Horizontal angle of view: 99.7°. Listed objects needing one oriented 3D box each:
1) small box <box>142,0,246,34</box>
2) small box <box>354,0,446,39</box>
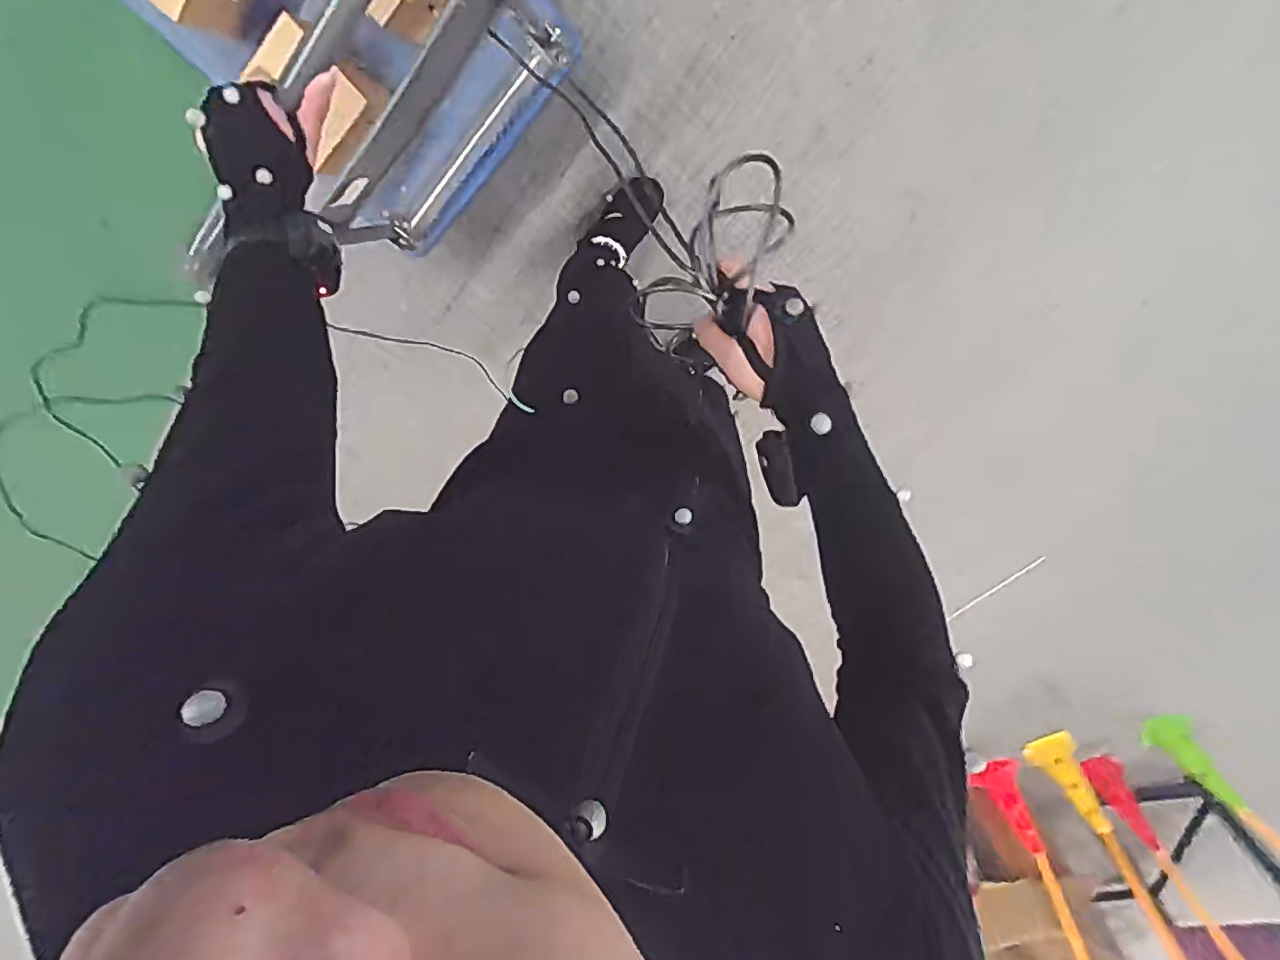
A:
[{"bbox_3d":[-0.778,-0.891,0.897,0.179,0.176,0.168,38,114,-21],"label":"small box"},{"bbox_3d":[-0.428,-0.888,0.899,0.168,0.176,0.179,-37,115,21],"label":"small box"}]
